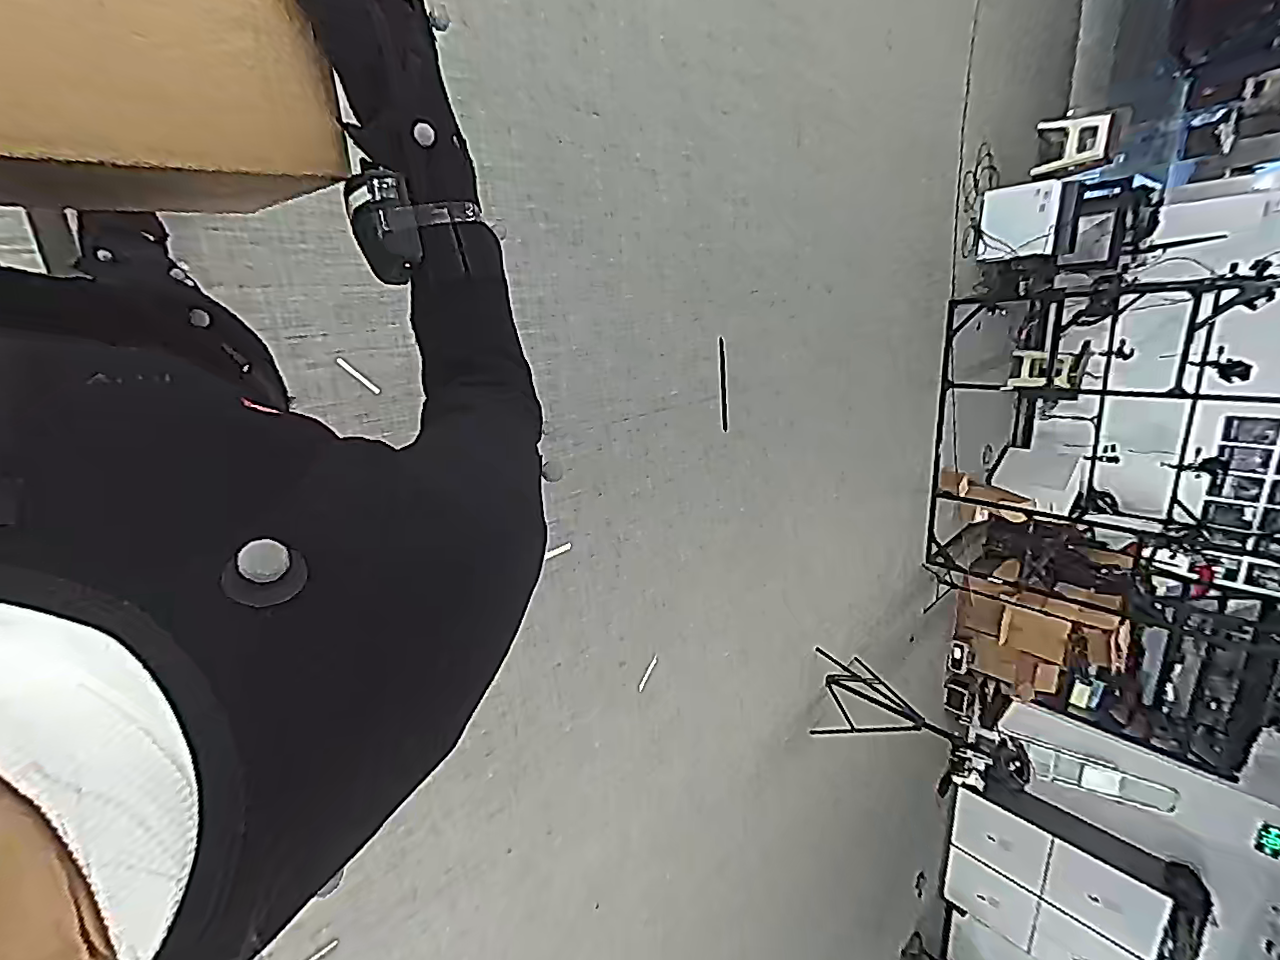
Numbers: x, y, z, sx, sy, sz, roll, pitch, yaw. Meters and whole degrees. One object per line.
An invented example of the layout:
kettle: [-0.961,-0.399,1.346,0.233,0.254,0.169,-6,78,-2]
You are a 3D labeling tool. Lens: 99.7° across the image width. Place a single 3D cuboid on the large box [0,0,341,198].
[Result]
large box: [-0.458,-0.339,0.289,0.408,0.320,0.320,-23,122,-41]
